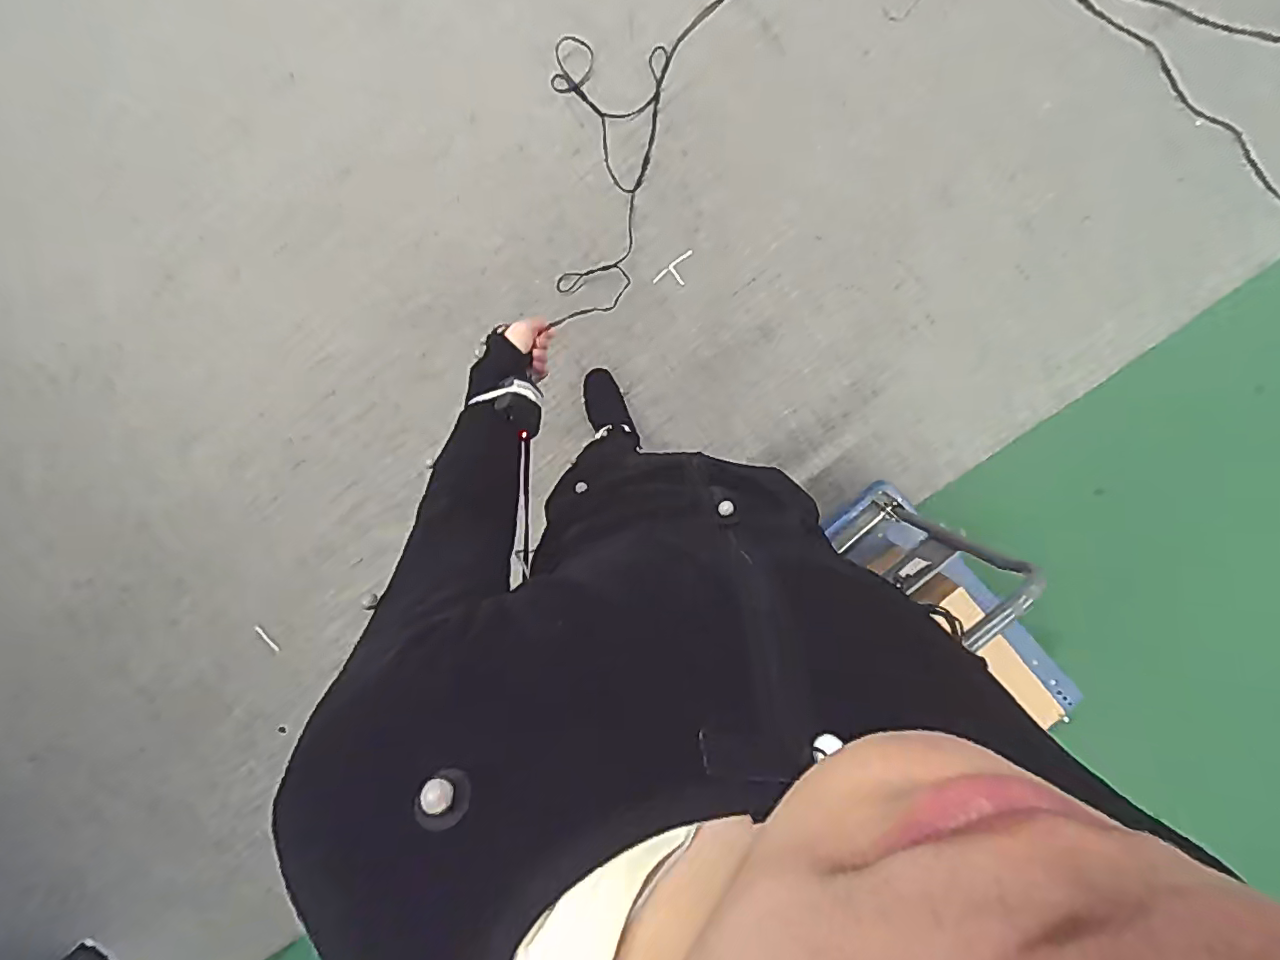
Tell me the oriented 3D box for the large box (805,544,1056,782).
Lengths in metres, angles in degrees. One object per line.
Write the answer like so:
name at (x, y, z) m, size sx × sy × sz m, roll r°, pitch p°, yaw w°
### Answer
large box at (0.695, 0.435, 1.358) m, size 0.320 × 0.320 × 0.408 m, roll -41°, pitch 98°, yaw 7°
